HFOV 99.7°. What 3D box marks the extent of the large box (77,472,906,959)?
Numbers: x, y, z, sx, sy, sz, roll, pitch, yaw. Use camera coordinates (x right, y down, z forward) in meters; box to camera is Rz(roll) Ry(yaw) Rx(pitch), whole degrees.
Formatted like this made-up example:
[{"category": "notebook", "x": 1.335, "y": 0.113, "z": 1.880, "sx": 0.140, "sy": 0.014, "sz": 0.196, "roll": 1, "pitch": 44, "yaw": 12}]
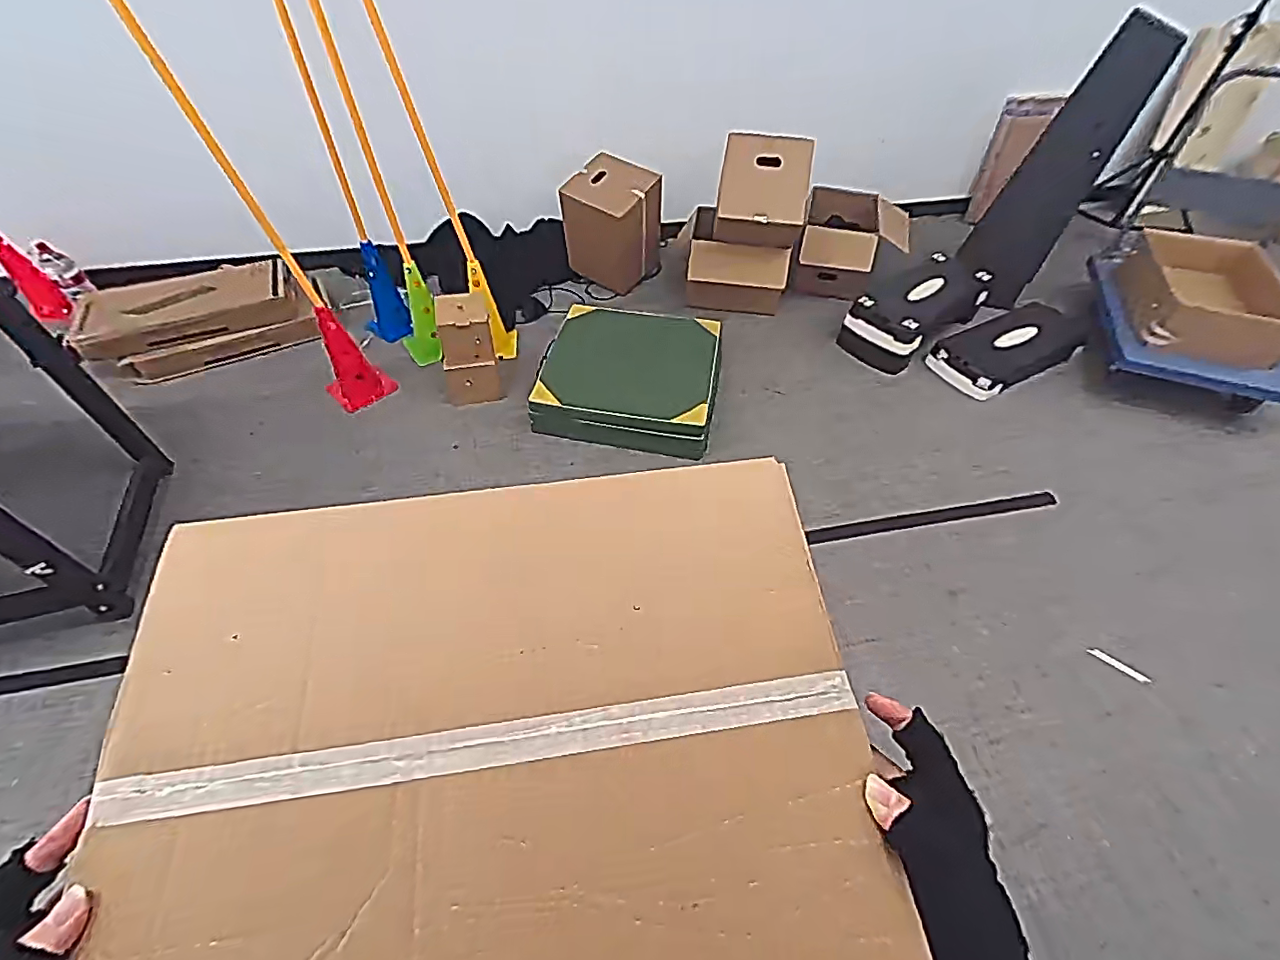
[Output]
[{"category": "large box", "x": -0.084, "y": 0.220, "z": 0.439, "sx": 0.408, "sy": 0.320, "sz": 0.320, "roll": -7, "pitch": 61, "yaw": -4}]
